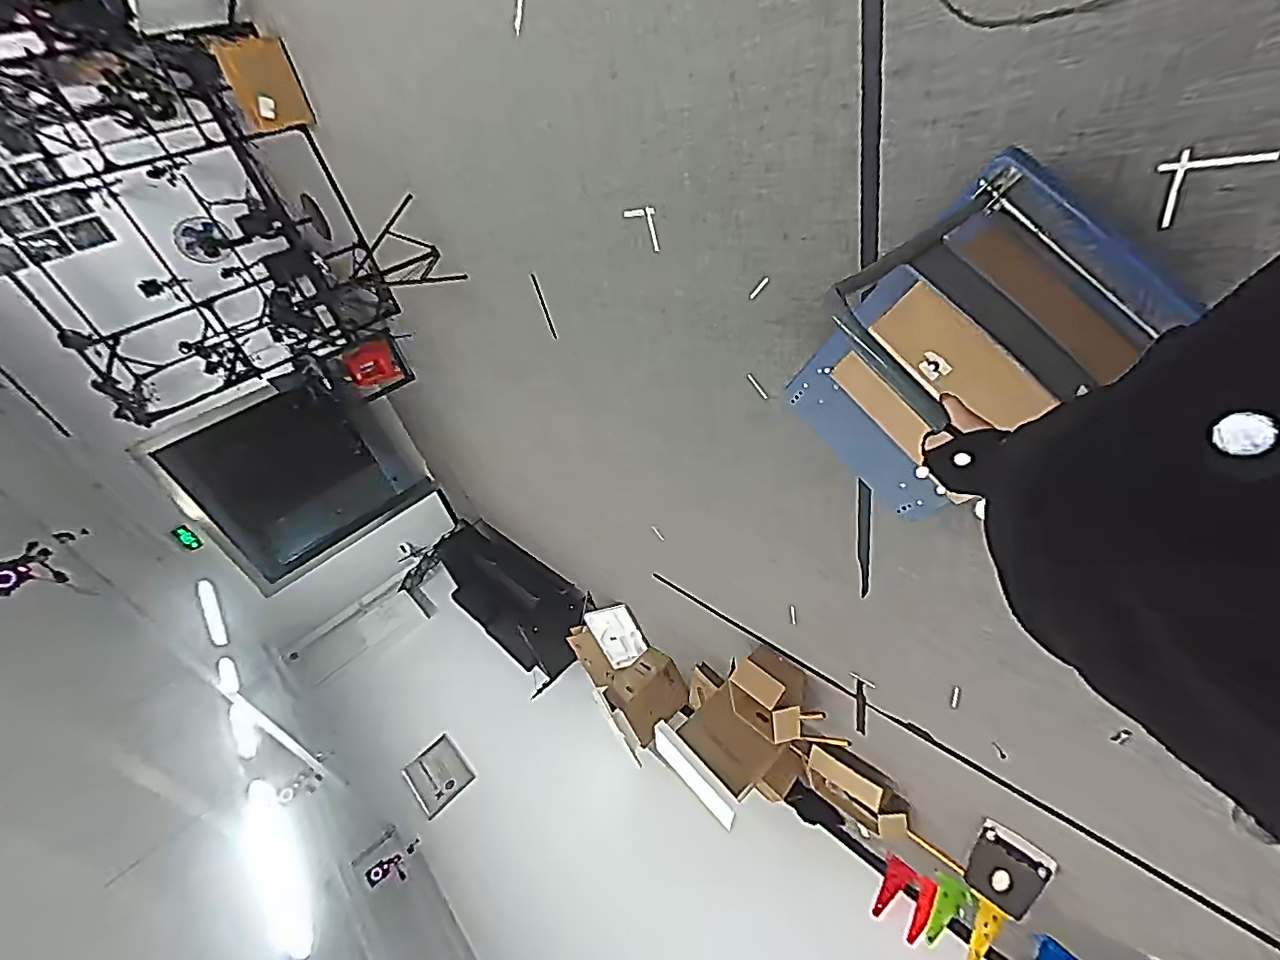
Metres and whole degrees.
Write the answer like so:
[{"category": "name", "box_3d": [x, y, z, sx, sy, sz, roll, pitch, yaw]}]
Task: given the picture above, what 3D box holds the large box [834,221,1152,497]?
[{"category": "large box", "box_3d": [0.712, -0.245, 1.129, 0.408, 0.320, 0.320, 49, 153, 9]}]
